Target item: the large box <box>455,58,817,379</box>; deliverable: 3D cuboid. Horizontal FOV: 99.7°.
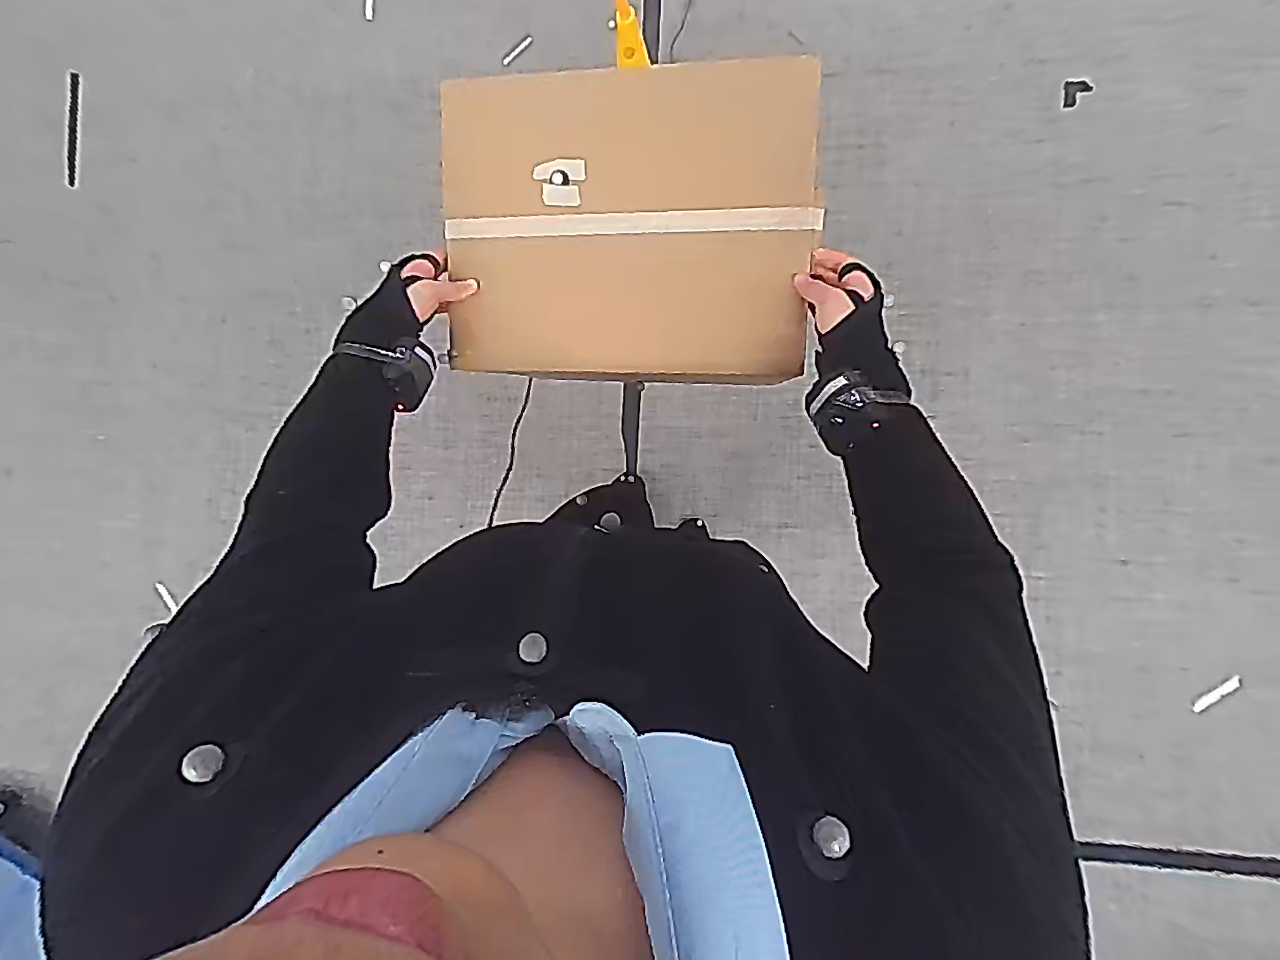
[{"bbox_3d":[0.011,-0.299,0.741,0.408,0.320,0.320,3,97,10],"label":"large box"}]
